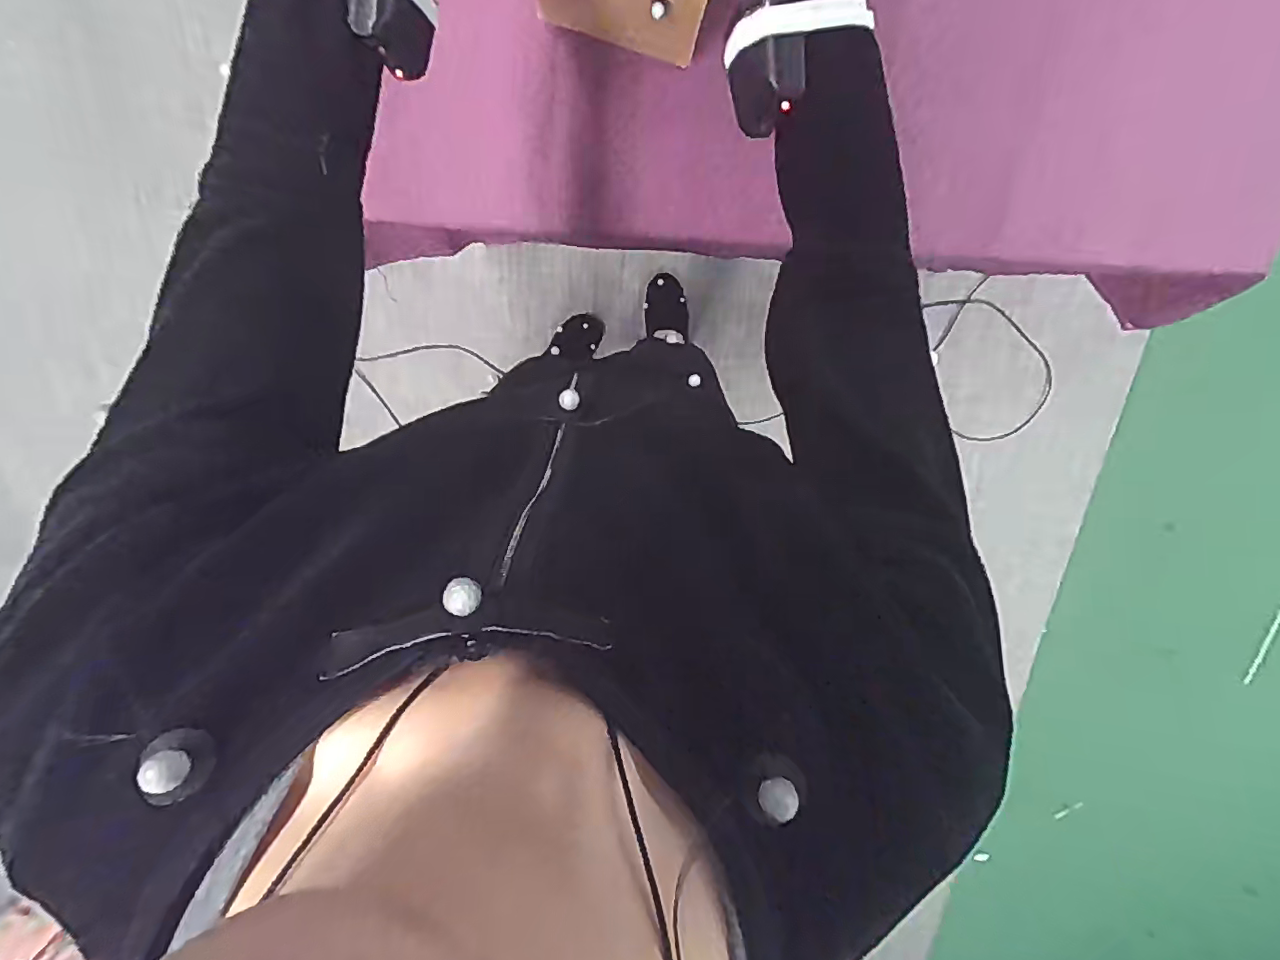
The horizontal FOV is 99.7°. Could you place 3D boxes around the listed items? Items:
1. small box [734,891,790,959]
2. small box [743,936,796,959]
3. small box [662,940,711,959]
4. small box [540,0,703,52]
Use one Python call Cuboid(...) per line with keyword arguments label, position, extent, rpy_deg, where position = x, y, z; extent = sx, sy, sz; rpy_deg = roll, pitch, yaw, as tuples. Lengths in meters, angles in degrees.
Cuboid(label="small box", position=(0.467, 1.740, 2.099), extent=(0.179, 0.176, 0.168), rpy_deg=(-2, 109, -2))
Cuboid(label="small box", position=(0.469, 1.783, 1.941), extent=(0.179, 0.176, 0.168), rpy_deg=(-2, 110, -2))
Cuboid(label="small box", position=(0.167, 1.793, 1.933), extent=(0.179, 0.176, 0.168), rpy_deg=(-1, 109, -3))
Cuboid(label="small box", position=(-0.008, -0.546, 0.506), extent=(0.179, 0.176, 0.168), rpy_deg=(12, 108, -7))
